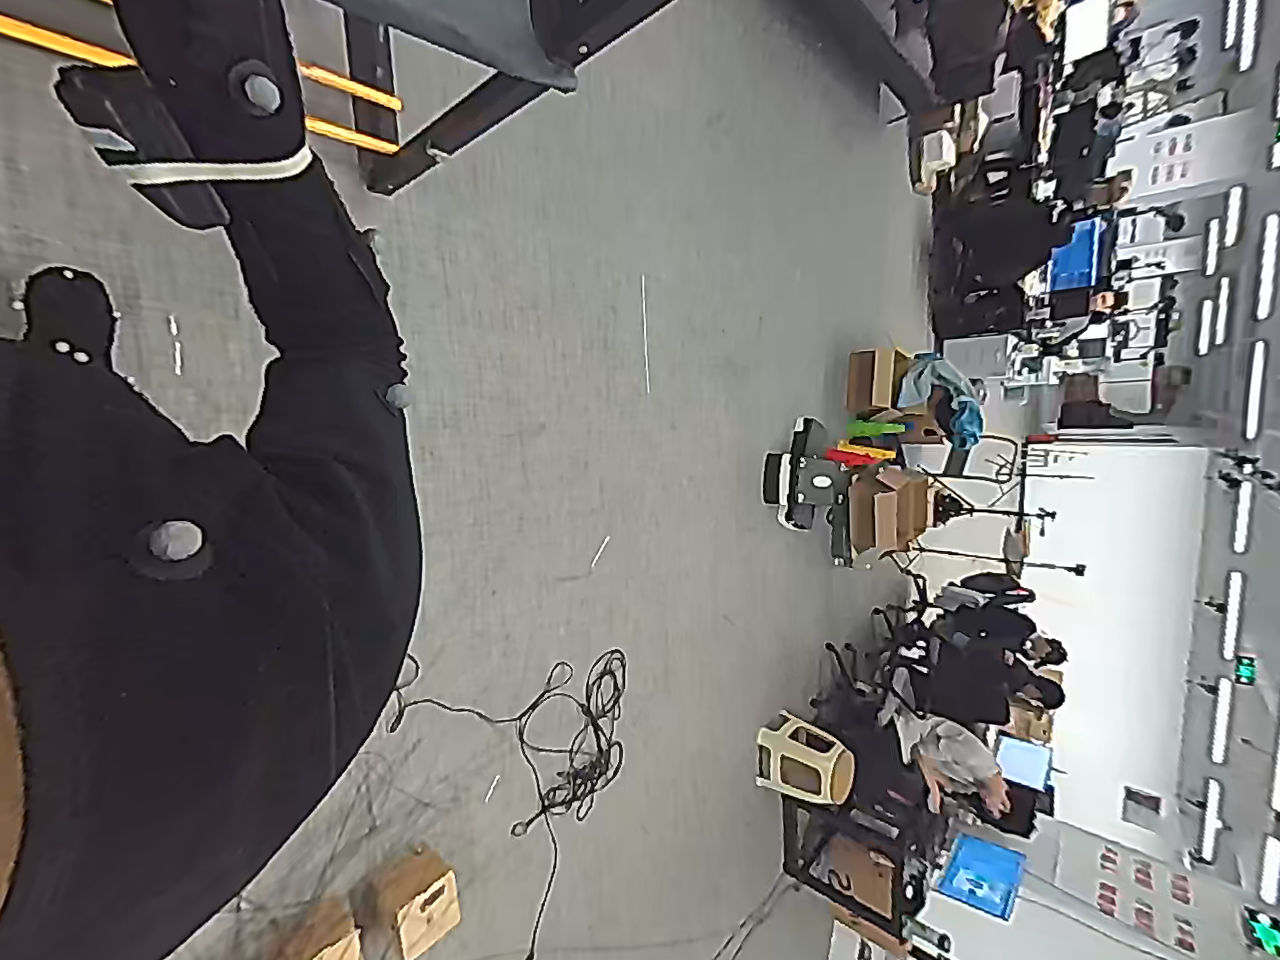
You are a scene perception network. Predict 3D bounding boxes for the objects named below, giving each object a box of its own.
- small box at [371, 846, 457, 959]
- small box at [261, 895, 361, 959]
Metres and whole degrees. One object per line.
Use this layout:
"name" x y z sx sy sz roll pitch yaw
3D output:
"small box" -0.649 1.196 1.549 0.168 0.176 0.179 -14 105 -47
"small box" -0.820 1.209 1.359 0.168 0.176 0.179 -19 106 -47
